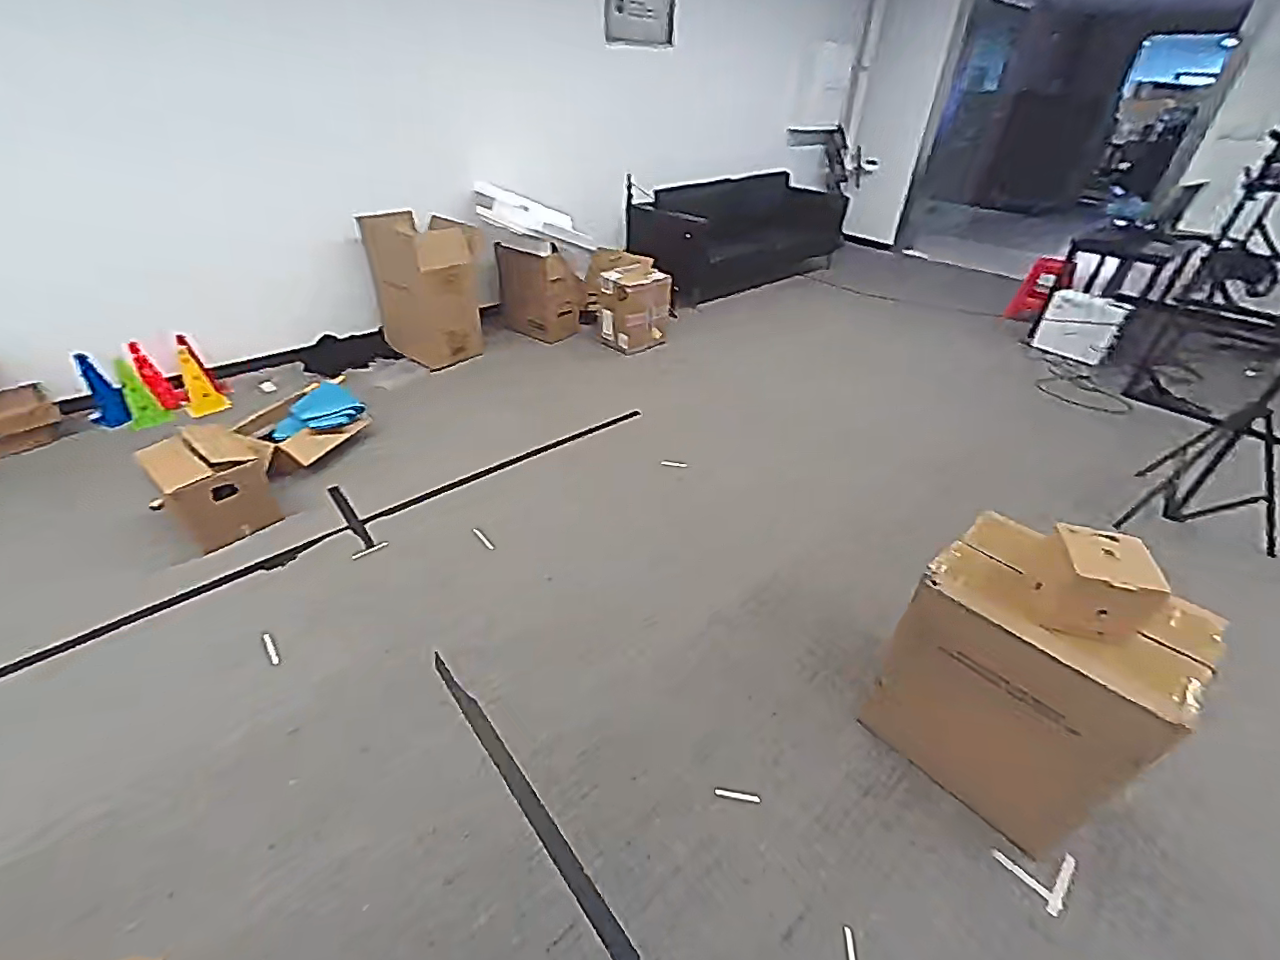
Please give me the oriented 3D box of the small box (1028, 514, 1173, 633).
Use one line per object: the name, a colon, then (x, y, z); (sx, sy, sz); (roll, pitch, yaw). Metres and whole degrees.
small box: (0.986, 0.204, 1.178); (0.168, 0.176, 0.179); (11, 39, 15)
